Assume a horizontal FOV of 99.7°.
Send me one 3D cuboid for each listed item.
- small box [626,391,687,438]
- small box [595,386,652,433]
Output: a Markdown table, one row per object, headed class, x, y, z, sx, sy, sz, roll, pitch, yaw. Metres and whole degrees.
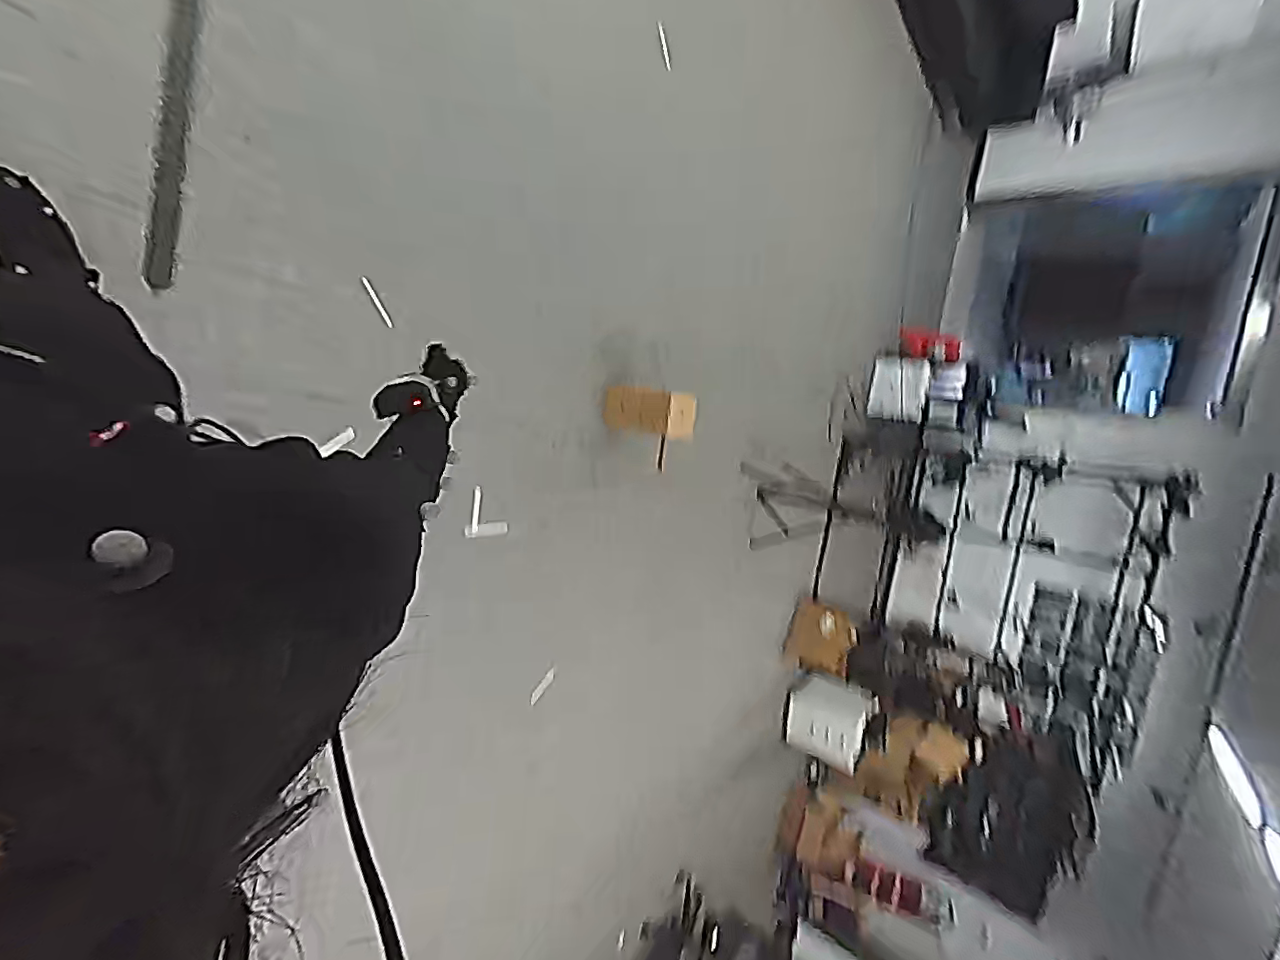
| class | x | y | z | sx | sy | sz | roll | pitch | yaw |
| --- | --- | --- | --- | --- | --- | --- | --- | --- | --- |
| small box | 0.063 | -0.260 | 2.145 | 0.179 | 0.176 | 0.168 | -5 | 106 | -52 |
| small box | -0.070 | -0.293 | 2.232 | 0.168 | 0.176 | 0.179 | -10 | 107 | -51 |
